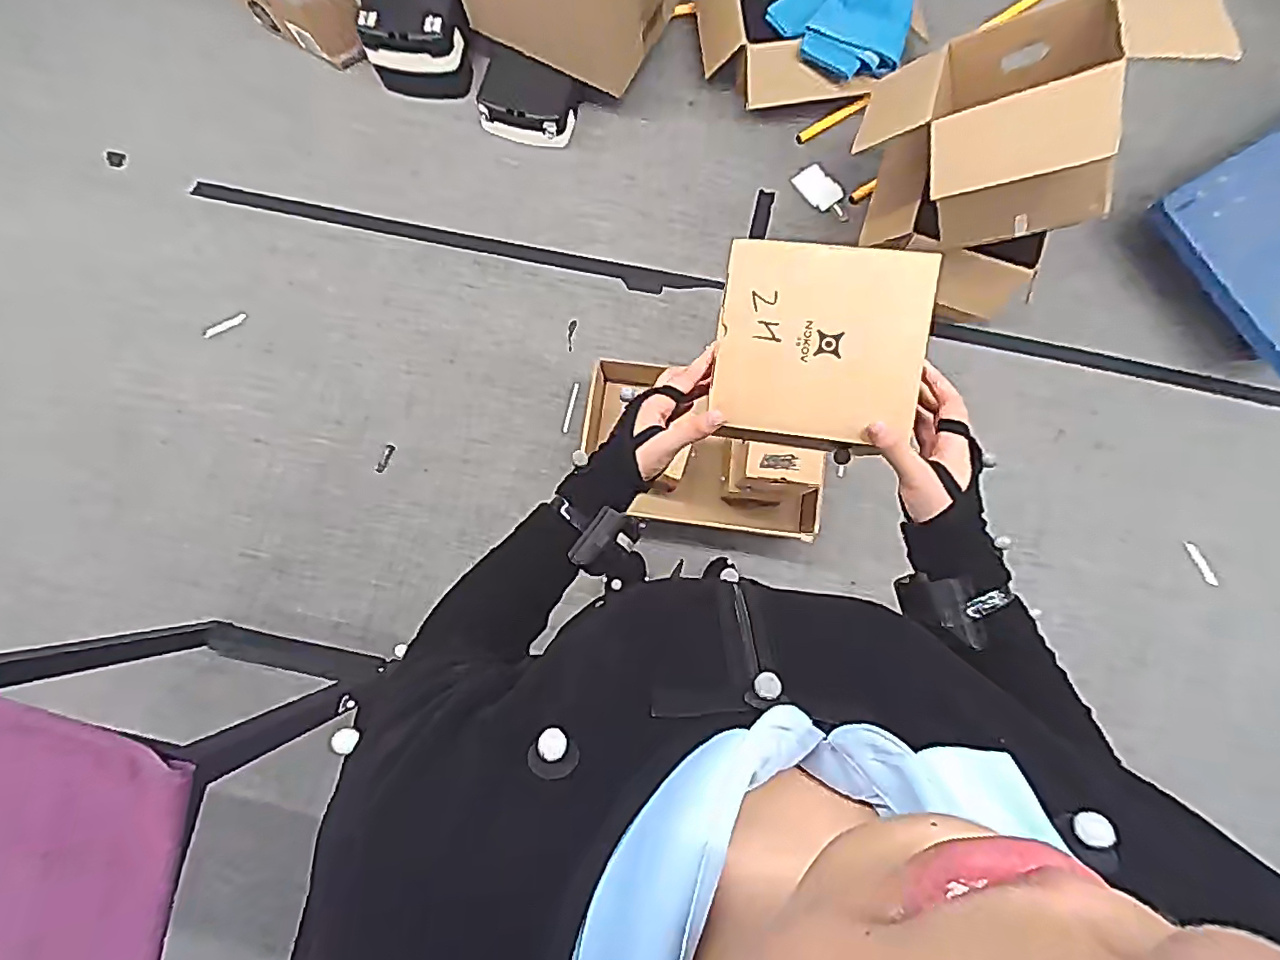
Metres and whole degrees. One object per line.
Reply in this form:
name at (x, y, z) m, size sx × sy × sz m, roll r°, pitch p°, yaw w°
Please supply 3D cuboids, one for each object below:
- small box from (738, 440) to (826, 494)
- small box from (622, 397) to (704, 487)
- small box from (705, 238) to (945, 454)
small box at (0.327, -0.070, 1.252) m, size 0.168 × 0.176 × 0.179 m, roll 8°, pitch 81°, yaw 3°
small box at (0.056, -0.094, 1.429) m, size 0.168 × 0.176 × 0.179 m, roll 18°, pitch 82°, yaw 2°
small box at (0.167, -0.118, 0.538) m, size 0.179 × 0.176 × 0.168 m, roll 9°, pitch 92°, yaw 9°
